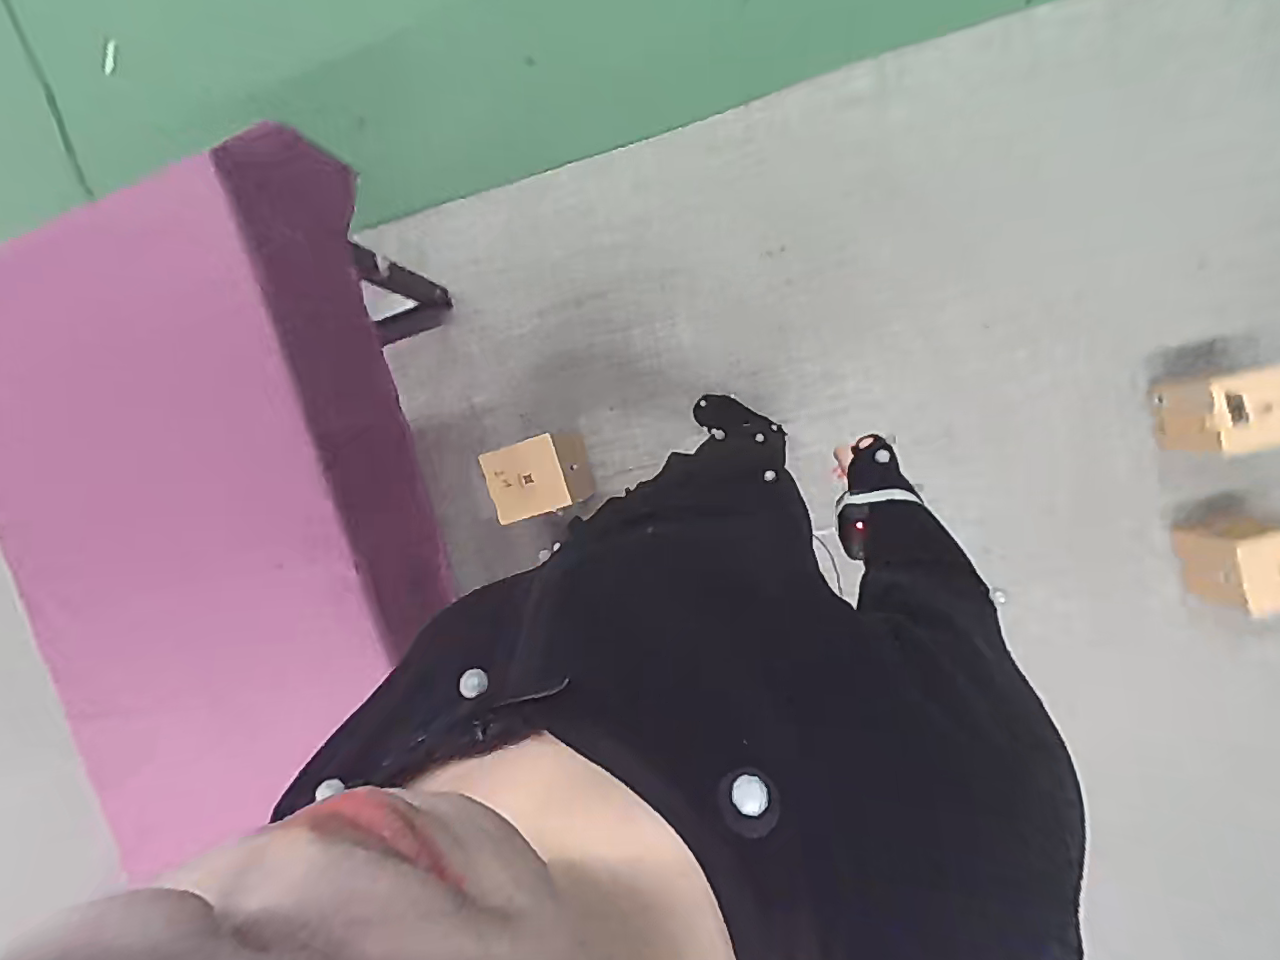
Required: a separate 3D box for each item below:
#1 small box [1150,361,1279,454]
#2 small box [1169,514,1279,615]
[{"bbox_3d":[1.305,-0.159,1.218,0.179,0.176,0.168,-14,94,8],"label":"small box"},{"bbox_3d":[1.383,0.185,1.245,0.168,0.176,0.179,-17,94,10],"label":"small box"}]
